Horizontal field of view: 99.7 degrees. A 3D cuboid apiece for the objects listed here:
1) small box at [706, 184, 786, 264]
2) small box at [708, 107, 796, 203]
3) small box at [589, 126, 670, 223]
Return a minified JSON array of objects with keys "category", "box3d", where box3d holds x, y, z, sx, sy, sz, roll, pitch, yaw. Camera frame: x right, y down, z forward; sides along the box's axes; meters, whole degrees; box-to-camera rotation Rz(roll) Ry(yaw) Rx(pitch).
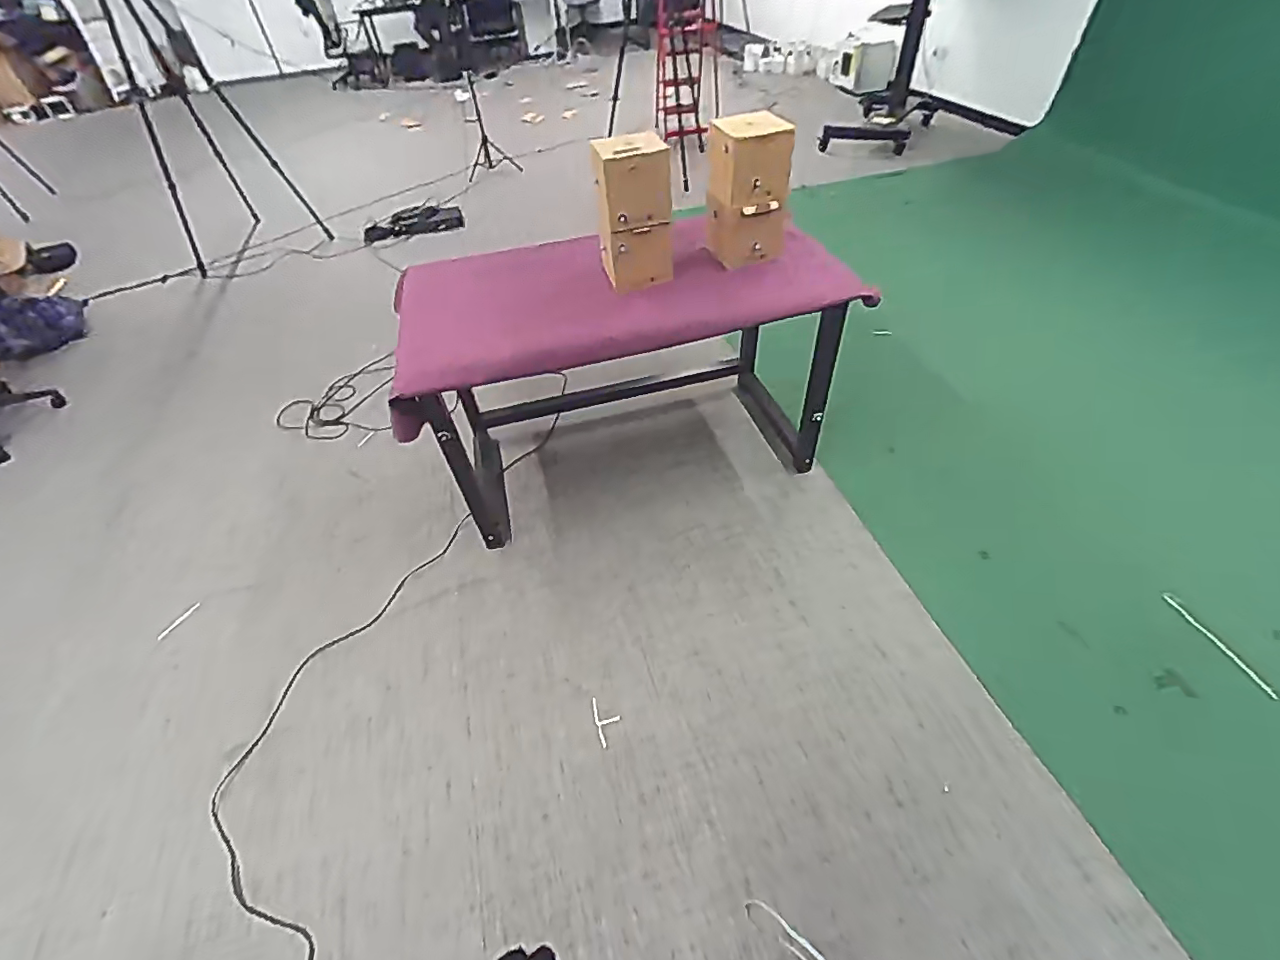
[{"category":"small box","box3d":[0.293,-0.739,1.538,0.168,0.176,0.179,-16,49,-9]},{"category":"small box","box3d":[0.284,-0.853,1.420,0.168,0.176,0.179,-16,49,-9]},{"category":"small box","box3d":[-0.024,-0.767,1.368,0.168,0.176,0.179,-14,47,-8]}]
